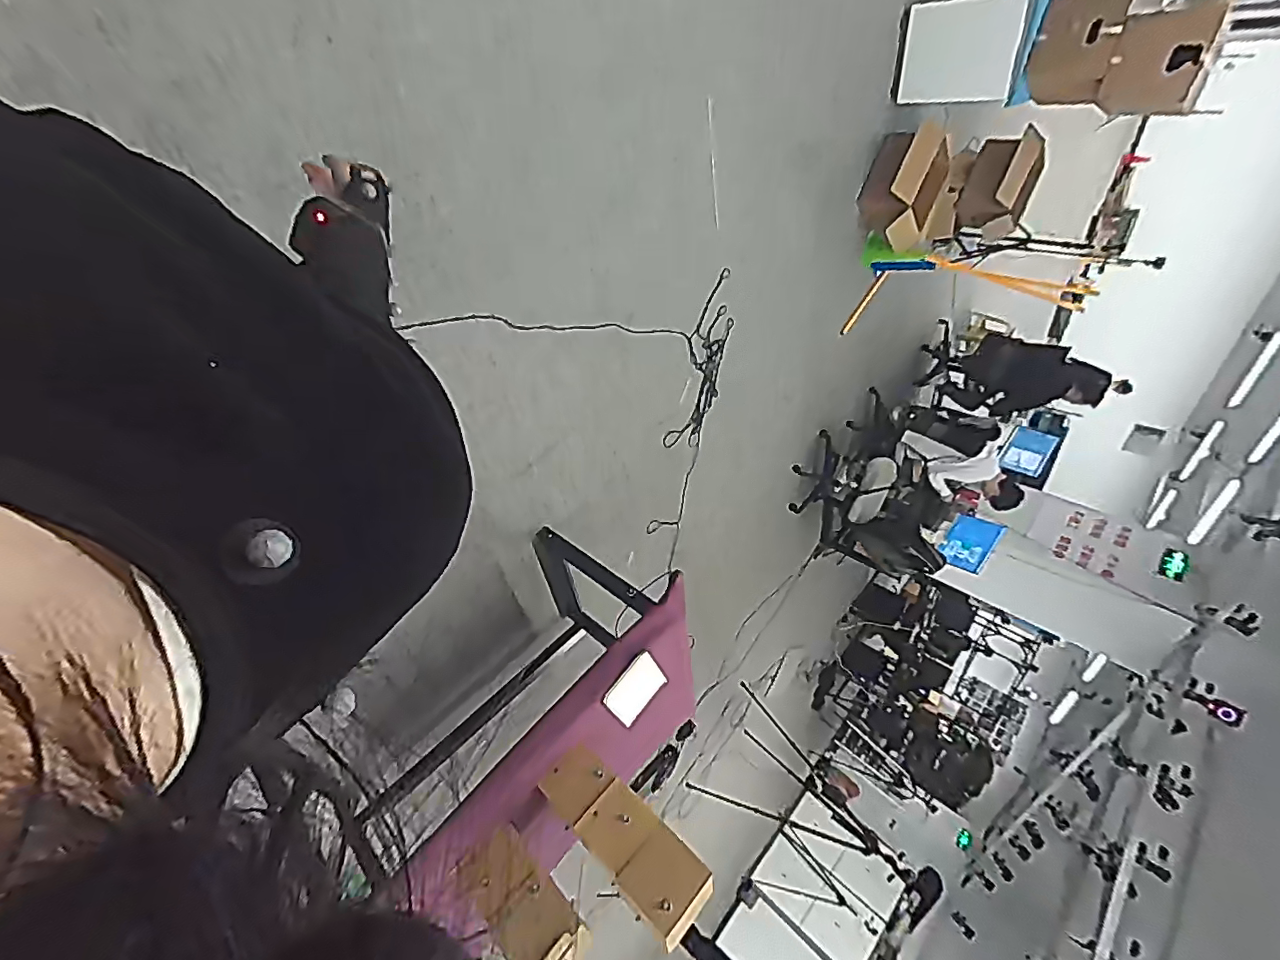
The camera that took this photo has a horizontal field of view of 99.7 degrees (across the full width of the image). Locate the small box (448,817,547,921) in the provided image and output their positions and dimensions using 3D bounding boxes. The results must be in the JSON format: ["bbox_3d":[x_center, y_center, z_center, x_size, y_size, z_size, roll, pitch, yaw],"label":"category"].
[{"bbox_3d":[-0.375,1.030,1.419,0.168,0.176,0.179,-37,139,-30],"label":"small box"}]

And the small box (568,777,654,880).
[{"bbox_3d":[-0.073,0.942,1.456,0.168,0.176,0.179,-38,140,-30],"label":"small box"}]

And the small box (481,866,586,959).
[{"bbox_3d":[-0.260,1.093,1.321,0.168,0.176,0.179,-38,140,-29],"label":"small box"}]

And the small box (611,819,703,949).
[{"bbox_3d":[0.040,1.006,1.354,0.179,0.176,0.168,-37,139,-32],"label":"small box"}]
